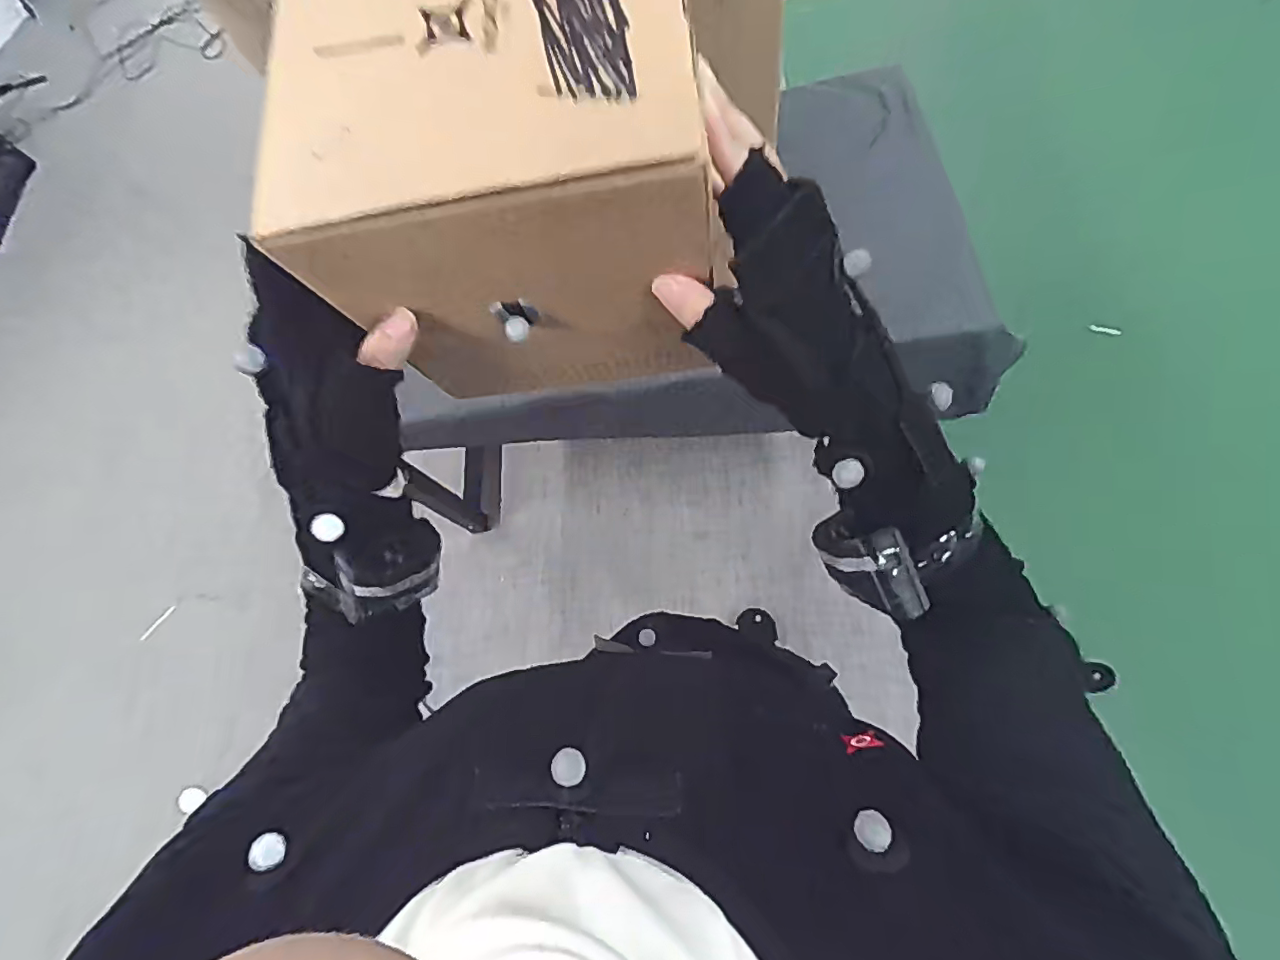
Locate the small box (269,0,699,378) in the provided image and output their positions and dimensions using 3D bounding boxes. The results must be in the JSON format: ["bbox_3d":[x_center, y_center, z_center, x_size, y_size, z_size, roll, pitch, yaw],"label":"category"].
[{"bbox_3d":[-0.059,-0.171,0.305,0.179,0.176,0.168,-5,76,8],"label":"small box"}]
